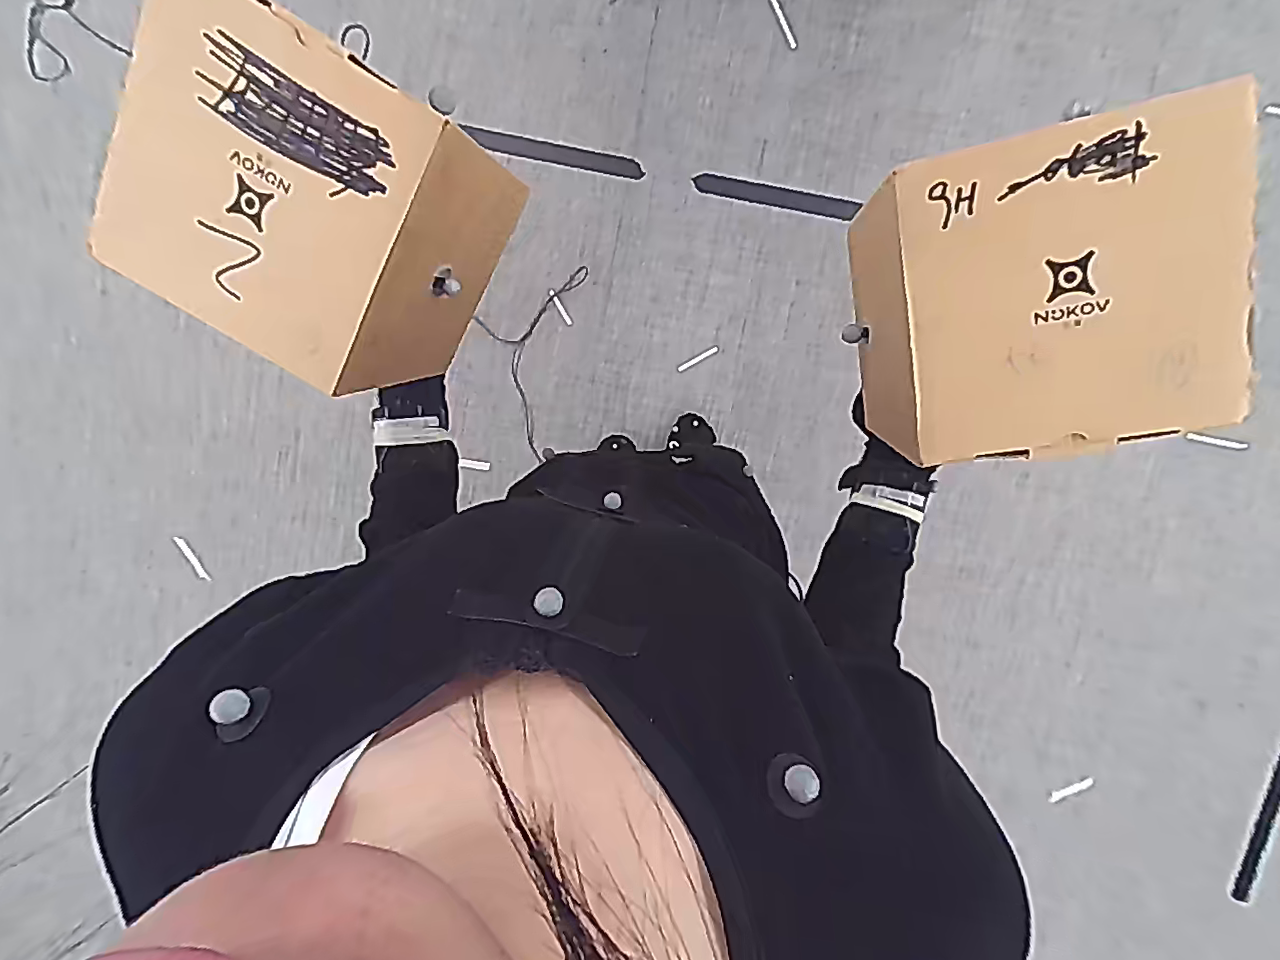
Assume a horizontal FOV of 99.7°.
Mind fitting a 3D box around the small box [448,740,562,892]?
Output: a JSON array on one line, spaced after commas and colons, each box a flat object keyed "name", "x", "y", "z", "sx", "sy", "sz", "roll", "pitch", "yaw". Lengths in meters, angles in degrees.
[{"name": "small box", "x": -0.245, "y": 0.618, "z": 1.016, "sx": 0.168, "sy": 0.176, "sz": 0.179, "roll": 4, "pitch": 96, "yaw": 4}]

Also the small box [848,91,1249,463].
[{"name": "small box", "x": 0.252, "y": -0.123, "z": 0.381, "sx": 0.168, "sy": 0.176, "sz": 0.179, "roll": -8, "pitch": 103, "yaw": 13}]

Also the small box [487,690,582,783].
[{"name": "small box", "x": -0.238, "y": 0.588, "z": 1.176, "sx": 0.179, "sy": 0.176, "sz": 0.168, "roll": 20, "pitch": 95, "yaw": 2}]
